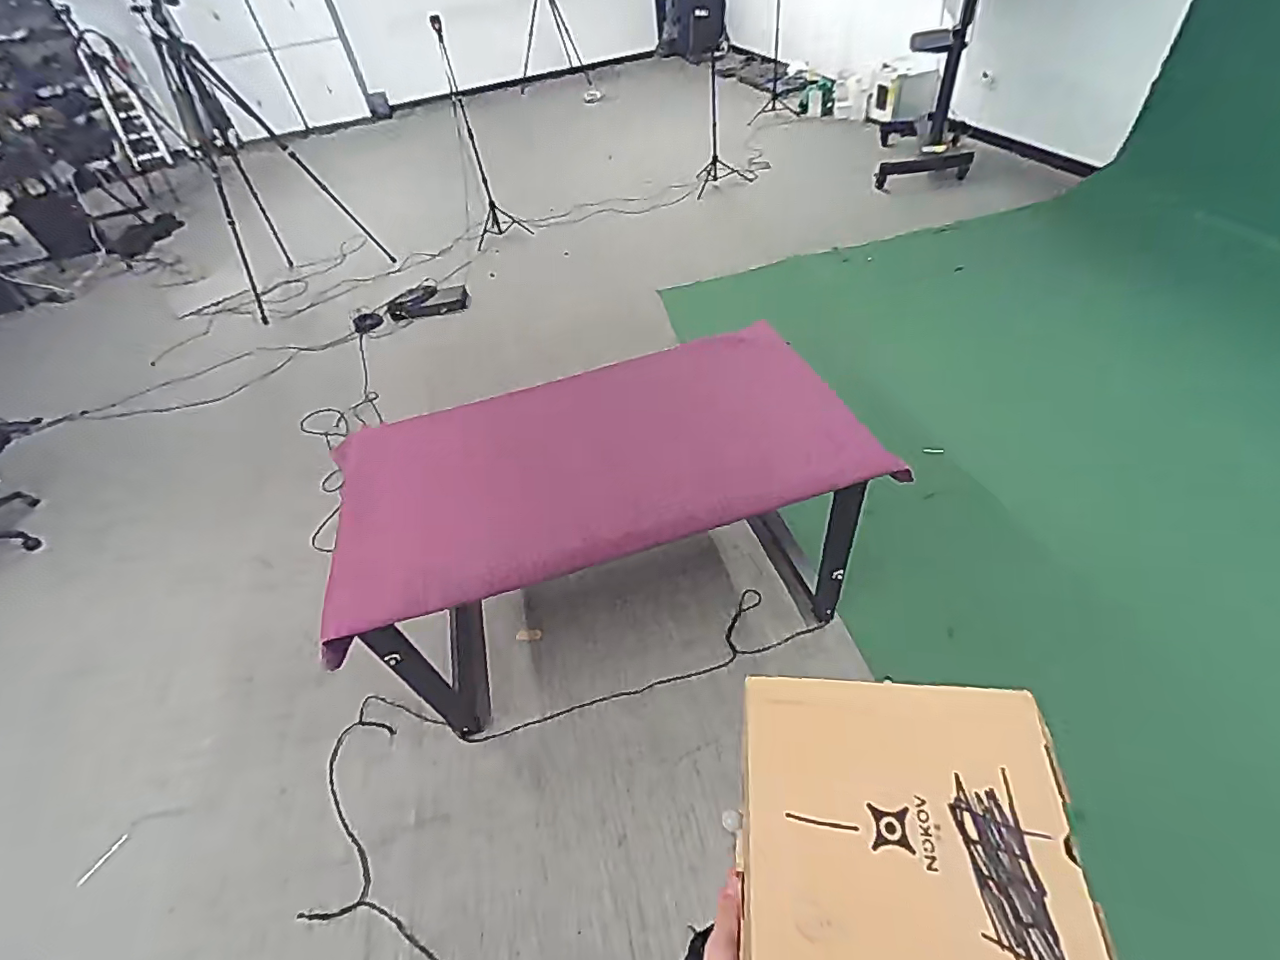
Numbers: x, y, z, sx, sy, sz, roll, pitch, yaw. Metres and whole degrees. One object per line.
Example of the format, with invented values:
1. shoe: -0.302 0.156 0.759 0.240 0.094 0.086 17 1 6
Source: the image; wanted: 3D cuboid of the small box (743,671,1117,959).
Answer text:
1. small box: 0.162 0.242 0.367 0.179 0.176 0.168 0 54 10
